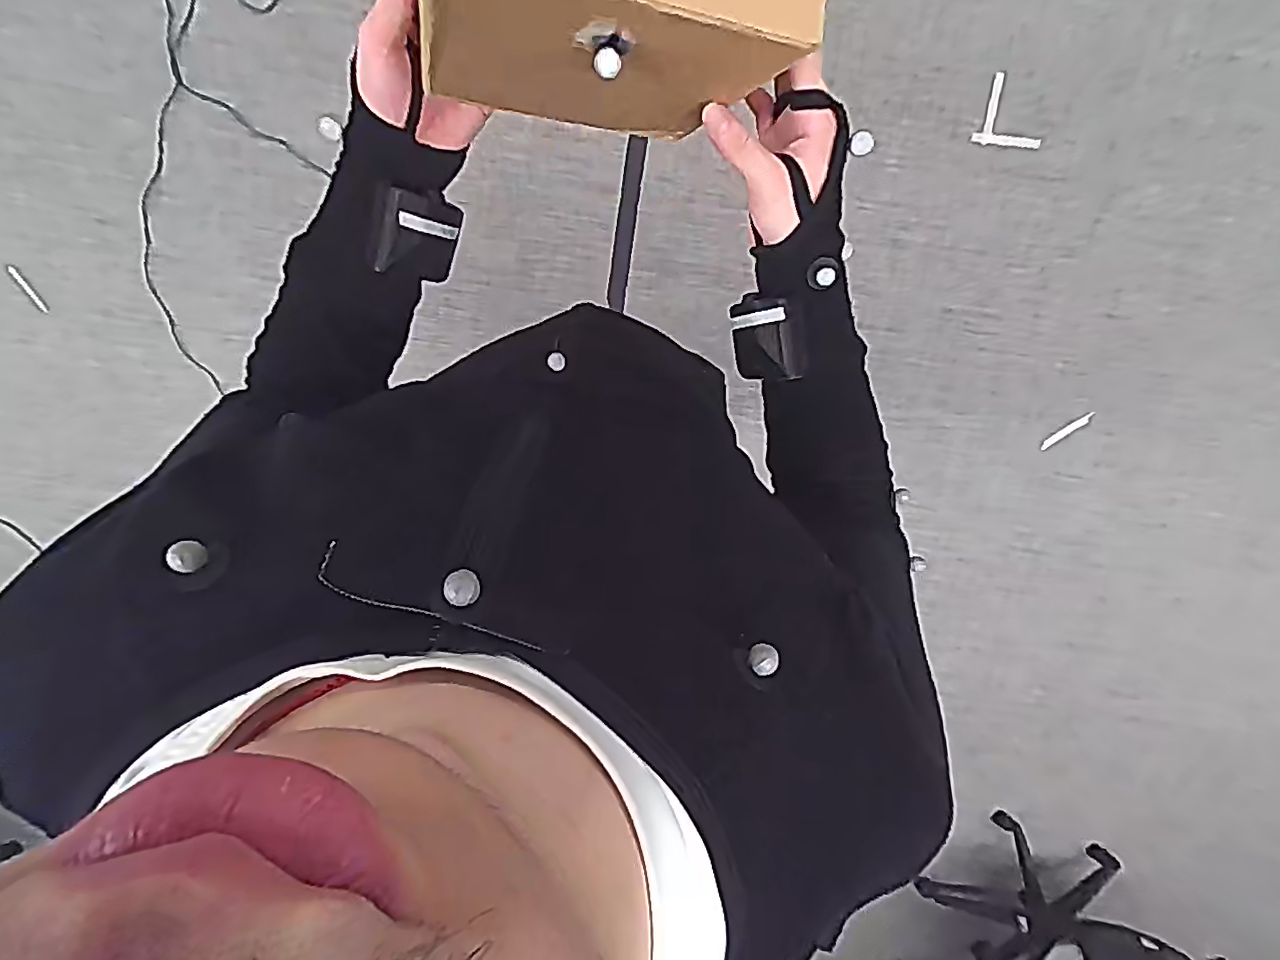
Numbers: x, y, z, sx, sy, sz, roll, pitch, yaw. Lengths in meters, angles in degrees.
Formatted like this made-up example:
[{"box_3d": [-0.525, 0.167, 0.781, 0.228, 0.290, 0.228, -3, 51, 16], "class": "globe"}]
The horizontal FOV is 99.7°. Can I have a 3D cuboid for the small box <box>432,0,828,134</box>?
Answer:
[{"box_3d": [-0.016, -0.306, 0.284, 0.179, 0.176, 0.168, -5, 109, -23], "class": "small box"}]
